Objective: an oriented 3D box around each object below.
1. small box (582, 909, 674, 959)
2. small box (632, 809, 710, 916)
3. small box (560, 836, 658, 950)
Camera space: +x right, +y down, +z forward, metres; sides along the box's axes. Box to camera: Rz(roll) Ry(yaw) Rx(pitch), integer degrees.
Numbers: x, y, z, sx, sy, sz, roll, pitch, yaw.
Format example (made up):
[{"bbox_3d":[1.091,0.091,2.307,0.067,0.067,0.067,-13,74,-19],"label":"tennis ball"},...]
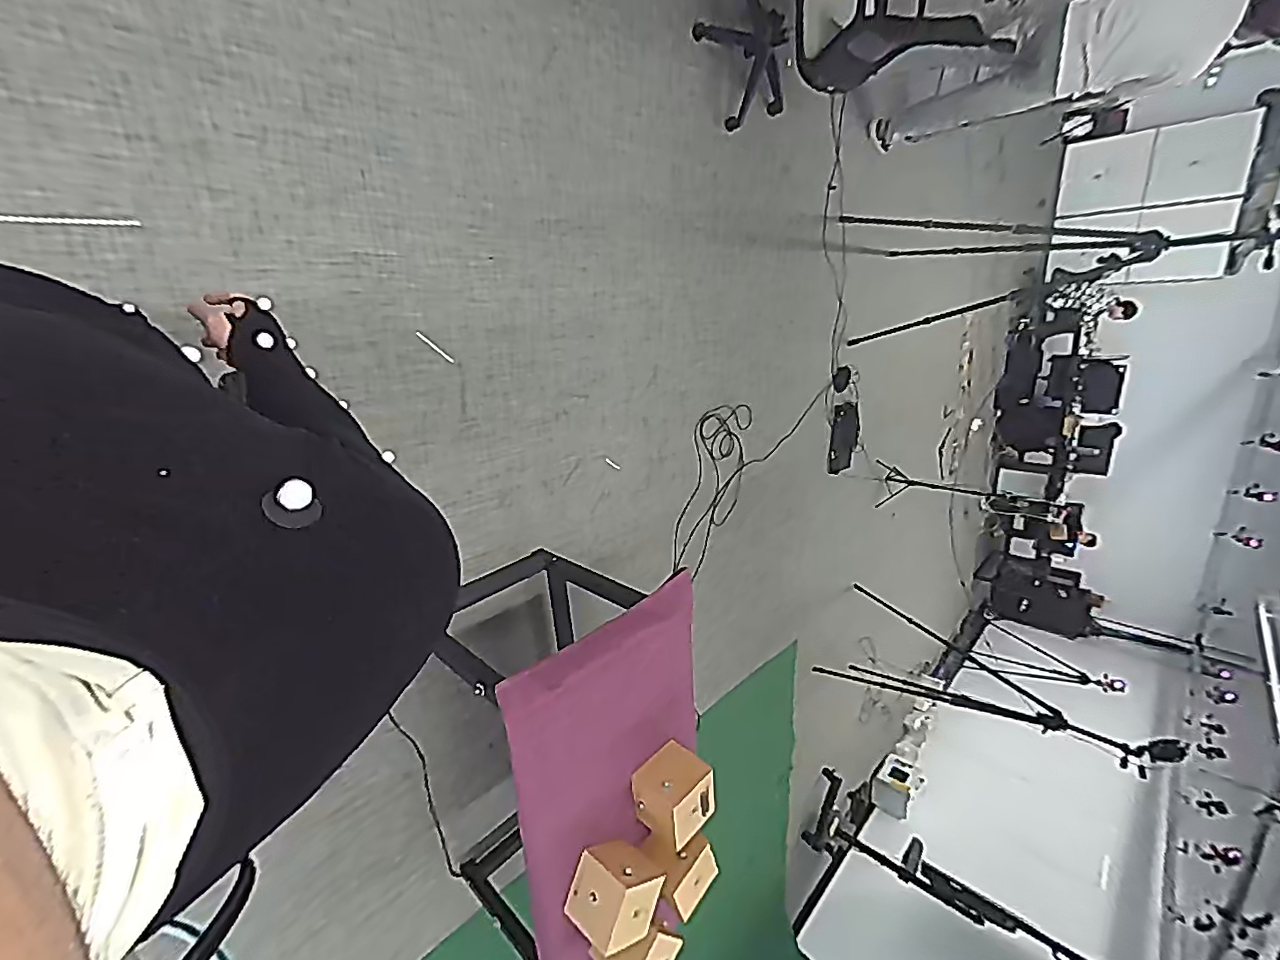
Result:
[{"bbox_3d":[-0.035,1.359,1.593,0.168,0.176,0.179,-54,132,-23],"label":"small box"},{"bbox_3d":[0.089,1.183,1.683,0.179,0.176,0.168,-37,125,-35],"label":"small box"},{"bbox_3d":[-0.088,1.110,1.469,0.179,0.176,0.168,28,79,-48],"label":"small box"}]
